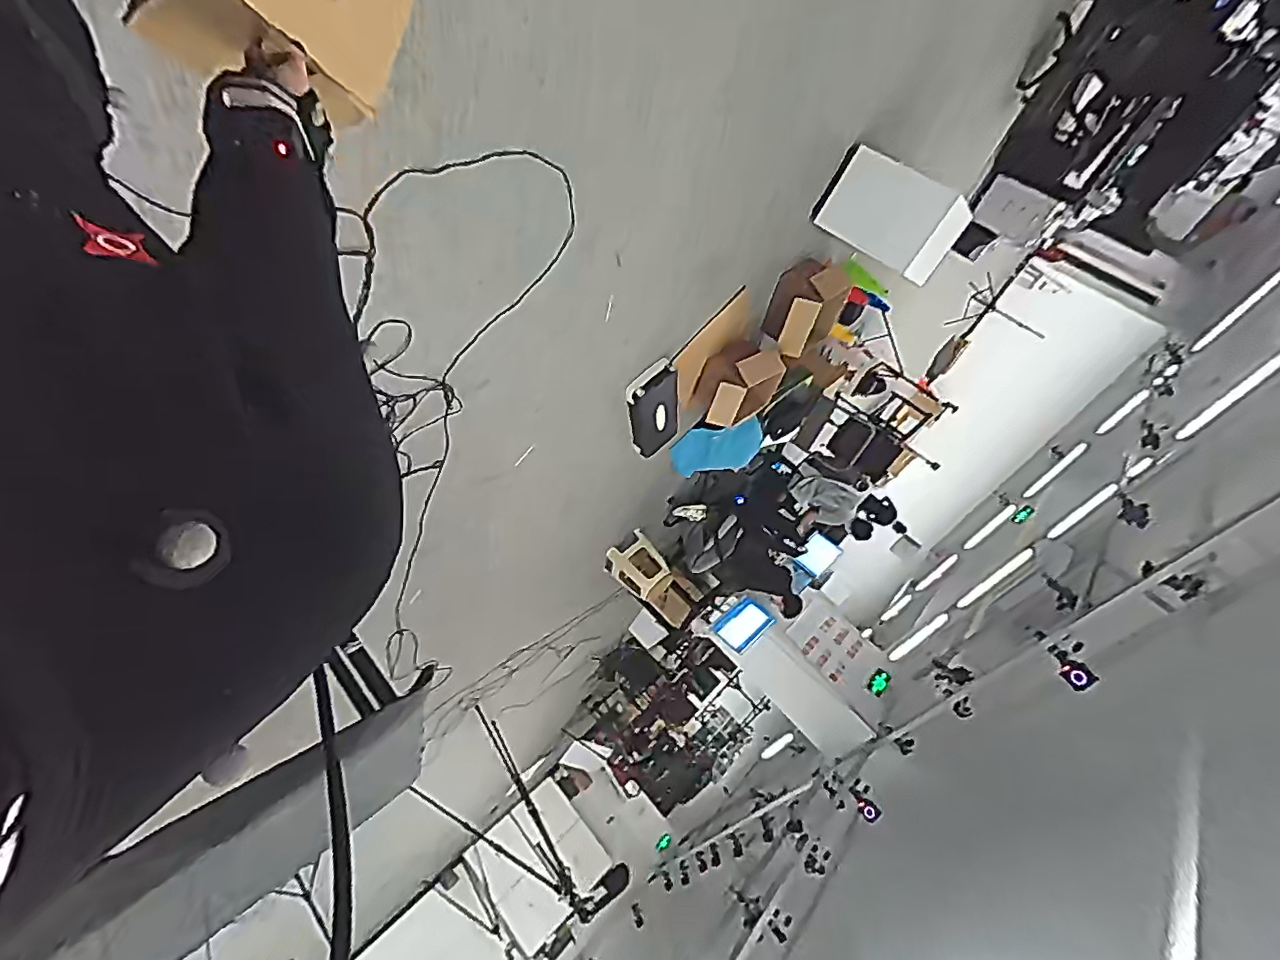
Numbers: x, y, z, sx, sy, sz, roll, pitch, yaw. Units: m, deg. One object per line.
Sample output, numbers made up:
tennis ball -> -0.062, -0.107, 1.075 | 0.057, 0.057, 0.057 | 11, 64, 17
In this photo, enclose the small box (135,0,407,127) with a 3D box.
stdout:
small box -> -0.359, -0.492, 0.532 | 0.168, 0.176, 0.179 | 22, 77, -59
